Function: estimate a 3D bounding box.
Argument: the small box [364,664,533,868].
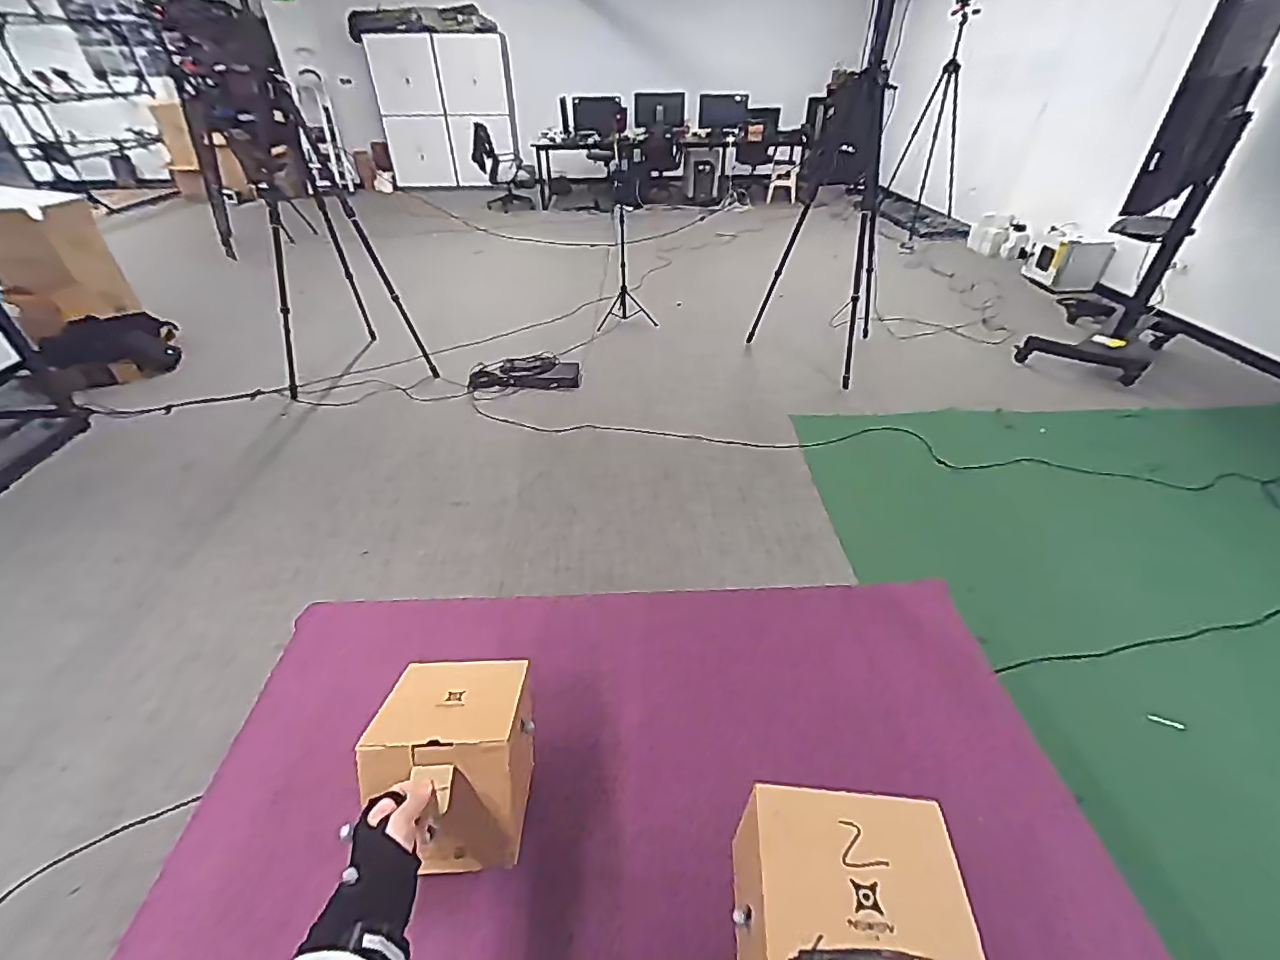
[{"bbox_3d":[-0.234,0.358,0.701,0.168,0.176,0.179,0,11,-3],"label":"small box"}]
